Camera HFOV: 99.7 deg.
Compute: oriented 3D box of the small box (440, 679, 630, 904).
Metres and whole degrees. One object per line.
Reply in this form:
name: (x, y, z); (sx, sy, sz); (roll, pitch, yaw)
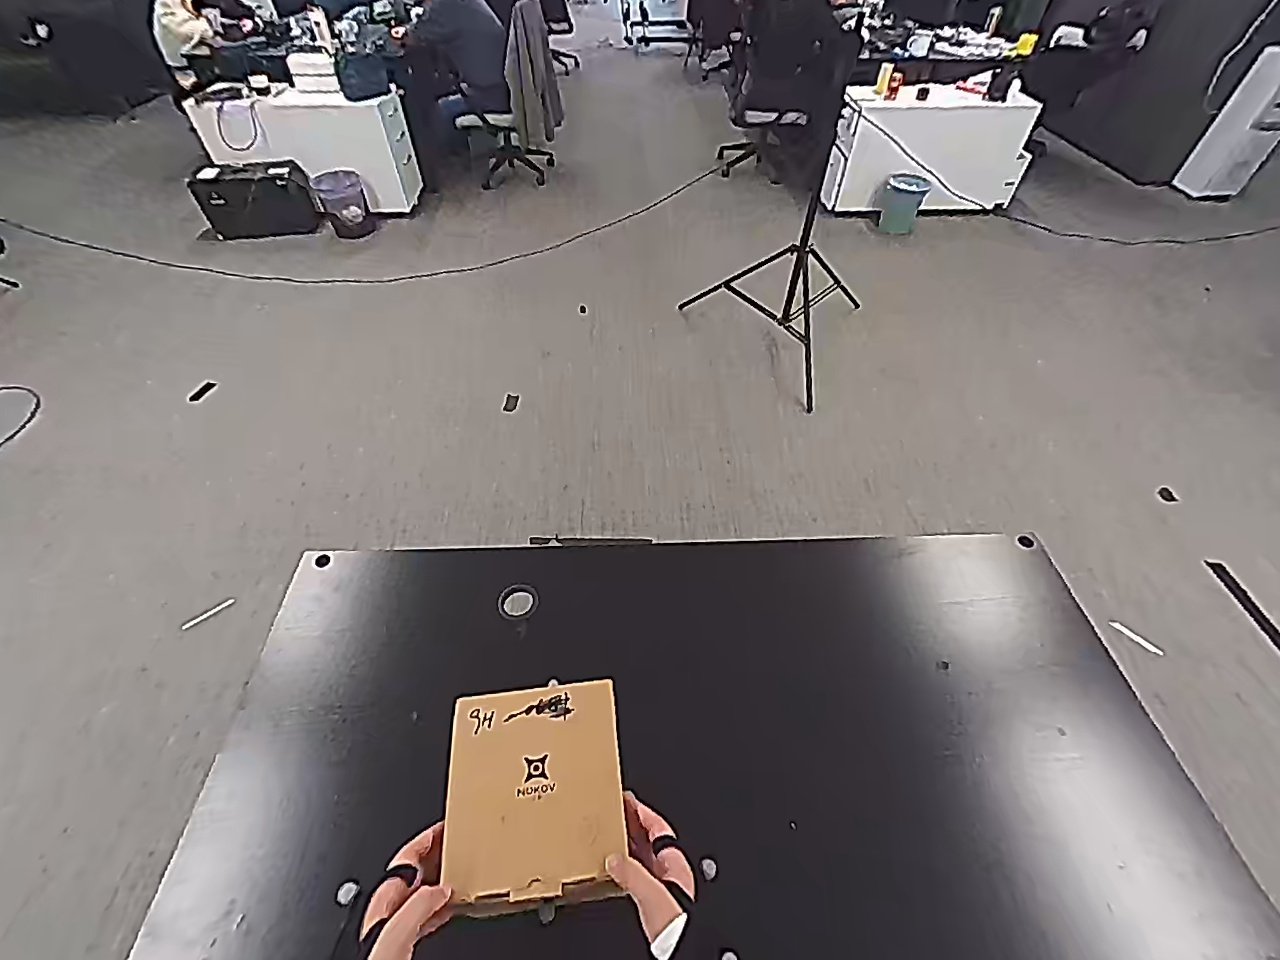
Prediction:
small box: (-0.101, 0.339, 0.584); (0.168, 0.176, 0.179); (-5, 49, -5)
